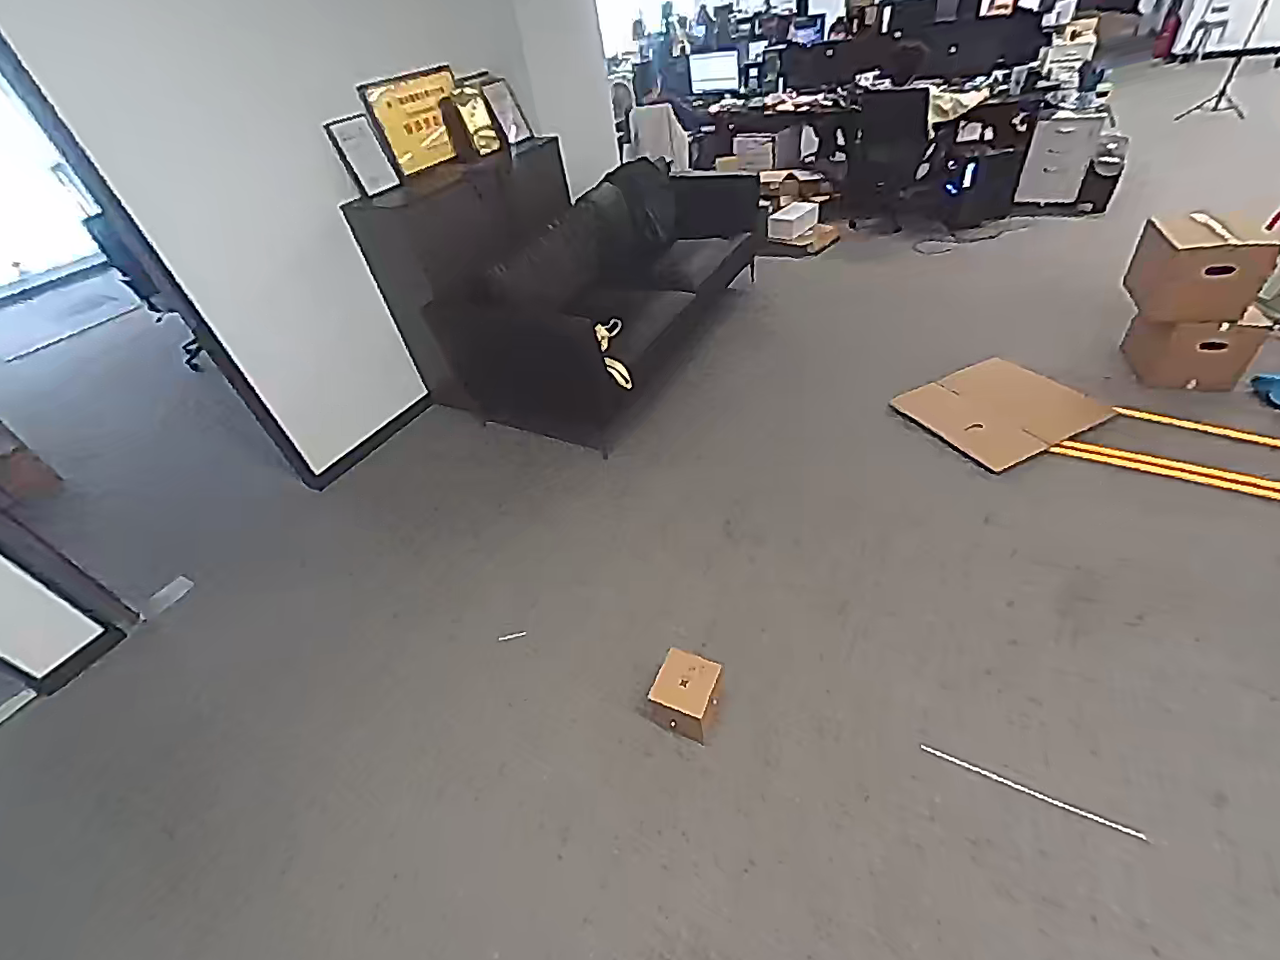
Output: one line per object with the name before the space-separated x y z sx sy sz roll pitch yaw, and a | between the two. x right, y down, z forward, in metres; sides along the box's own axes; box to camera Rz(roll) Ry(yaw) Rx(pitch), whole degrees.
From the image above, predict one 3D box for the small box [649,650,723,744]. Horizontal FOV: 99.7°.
small box | 0.144 0.645 1.602 0.168 0.176 0.179 13 46 24
